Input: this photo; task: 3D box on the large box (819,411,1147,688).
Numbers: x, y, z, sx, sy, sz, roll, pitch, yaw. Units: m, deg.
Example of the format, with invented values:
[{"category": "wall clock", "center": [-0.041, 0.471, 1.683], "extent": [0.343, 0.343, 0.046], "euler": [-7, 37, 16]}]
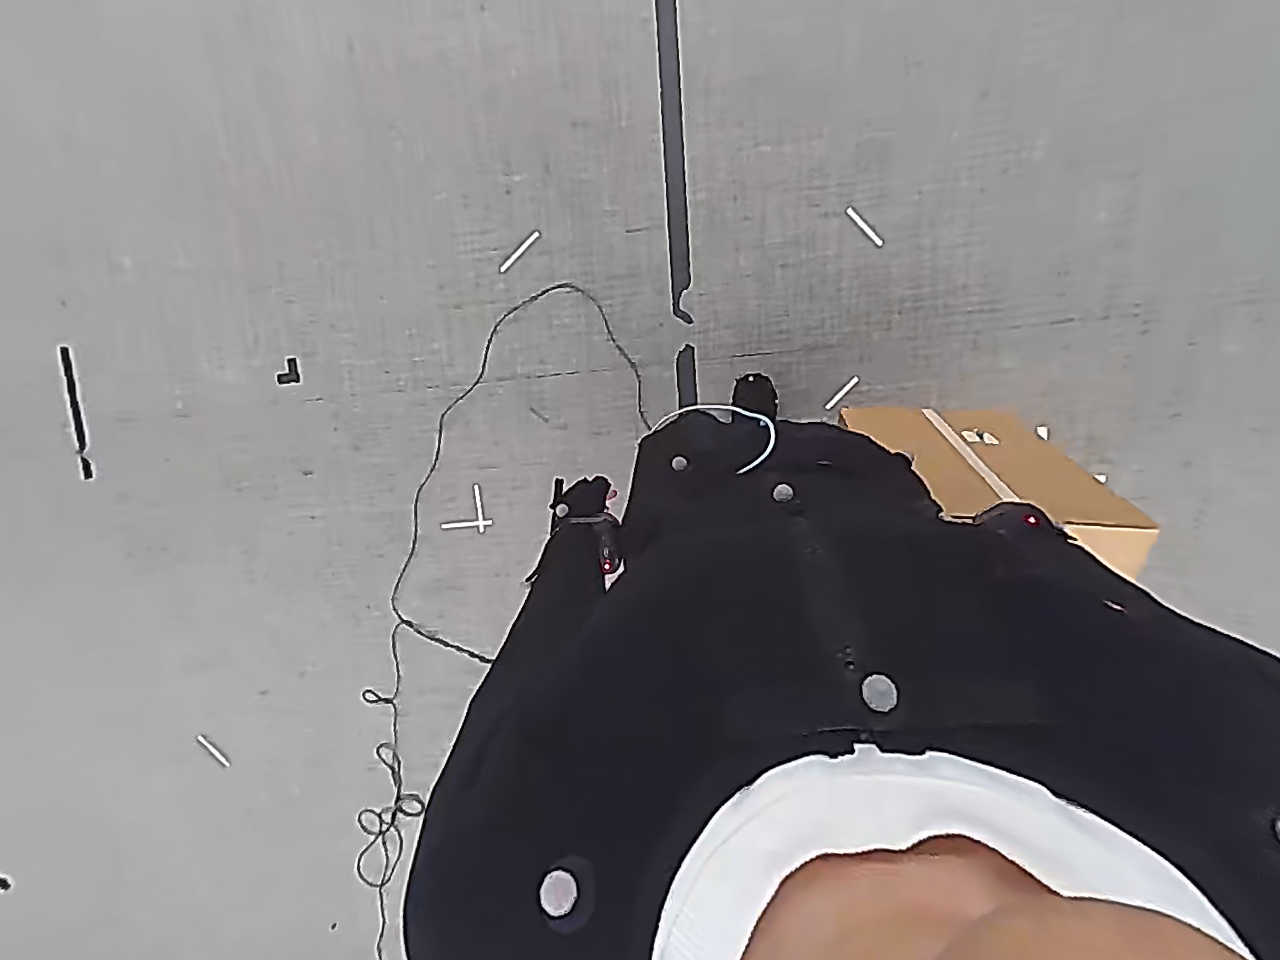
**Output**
[{"category": "large box", "center": [0.519, 0.096, 0.939], "extent": [0.320, 0.408, 0.320], "euler": [3, 116, 6]}]
